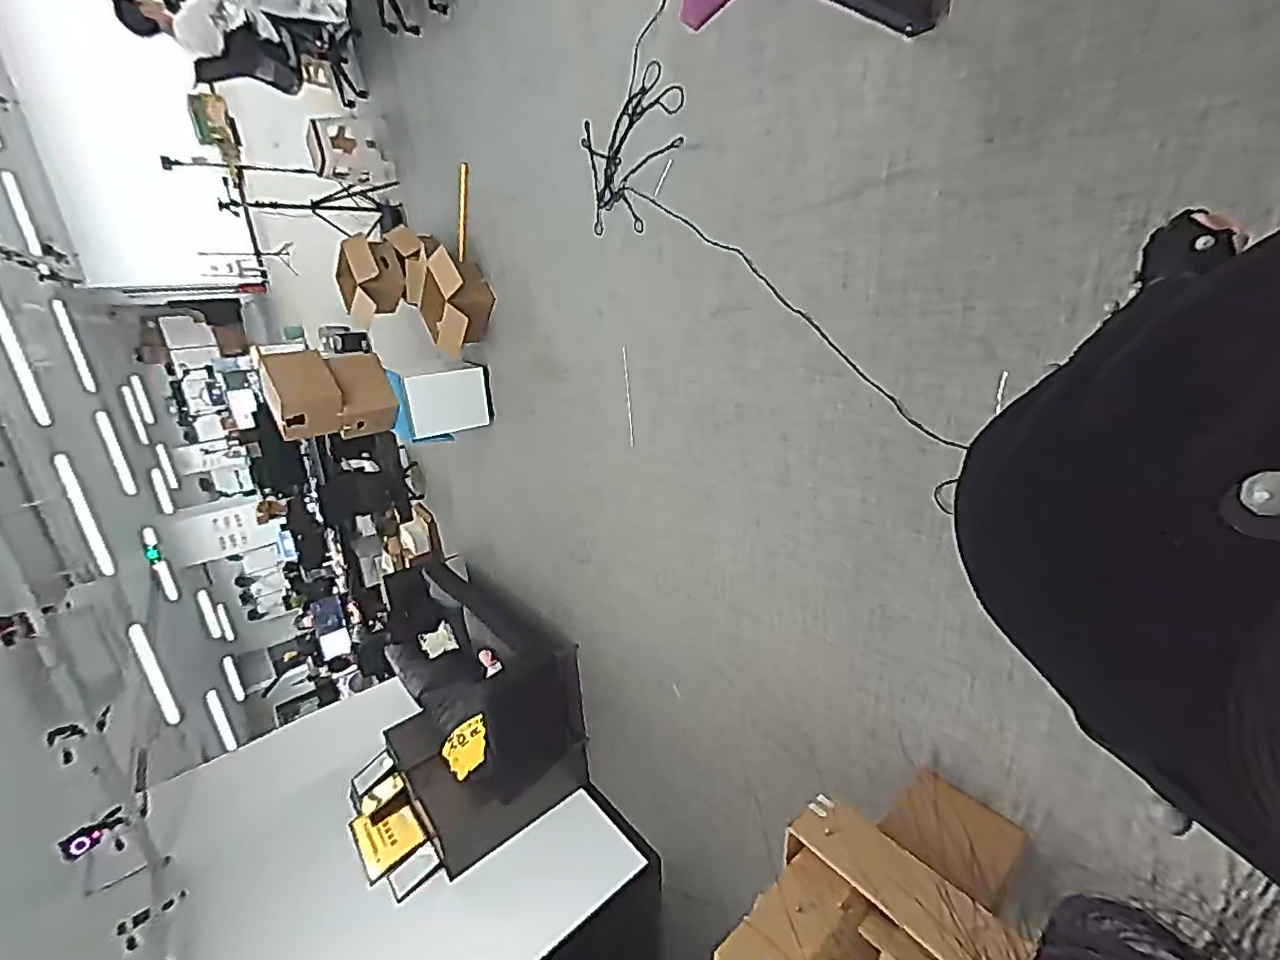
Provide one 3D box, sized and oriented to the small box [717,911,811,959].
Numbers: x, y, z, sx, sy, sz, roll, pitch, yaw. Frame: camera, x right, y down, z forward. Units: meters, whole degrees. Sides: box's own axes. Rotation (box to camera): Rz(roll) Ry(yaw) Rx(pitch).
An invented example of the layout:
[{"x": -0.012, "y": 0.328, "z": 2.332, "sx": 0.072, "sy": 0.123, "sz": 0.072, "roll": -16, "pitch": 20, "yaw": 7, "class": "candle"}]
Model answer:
[{"x": 0.314, "y": 1.258, "z": 1.378, "sx": 0.179, "sy": 0.176, "sz": 0.168, "roll": 24, "pitch": 123, "yaw": 45, "class": "small box"}]
